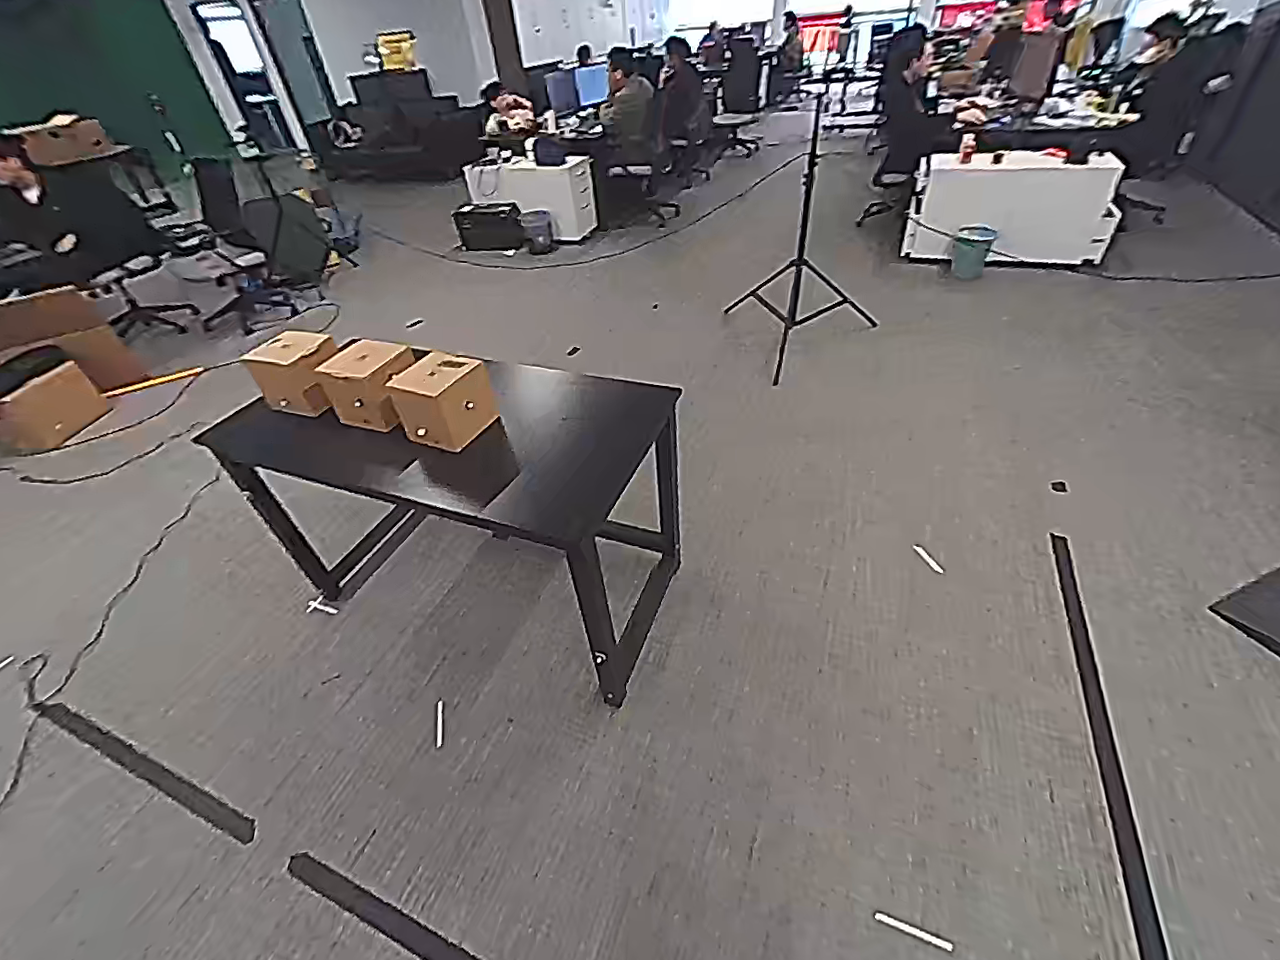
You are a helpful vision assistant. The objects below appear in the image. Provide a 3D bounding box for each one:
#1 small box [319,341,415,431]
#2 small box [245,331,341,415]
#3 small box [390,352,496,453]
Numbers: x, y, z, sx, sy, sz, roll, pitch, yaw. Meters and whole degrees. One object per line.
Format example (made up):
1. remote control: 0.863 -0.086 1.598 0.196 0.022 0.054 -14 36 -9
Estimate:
1. small box: -0.711 -0.254 1.463 0.168 0.176 0.179 12 43 18
2. small box: -0.956 -0.302 1.542 0.179 0.176 0.168 11 43 17
3. small box: -0.486 -0.198 1.370 0.168 0.176 0.179 15 45 22
